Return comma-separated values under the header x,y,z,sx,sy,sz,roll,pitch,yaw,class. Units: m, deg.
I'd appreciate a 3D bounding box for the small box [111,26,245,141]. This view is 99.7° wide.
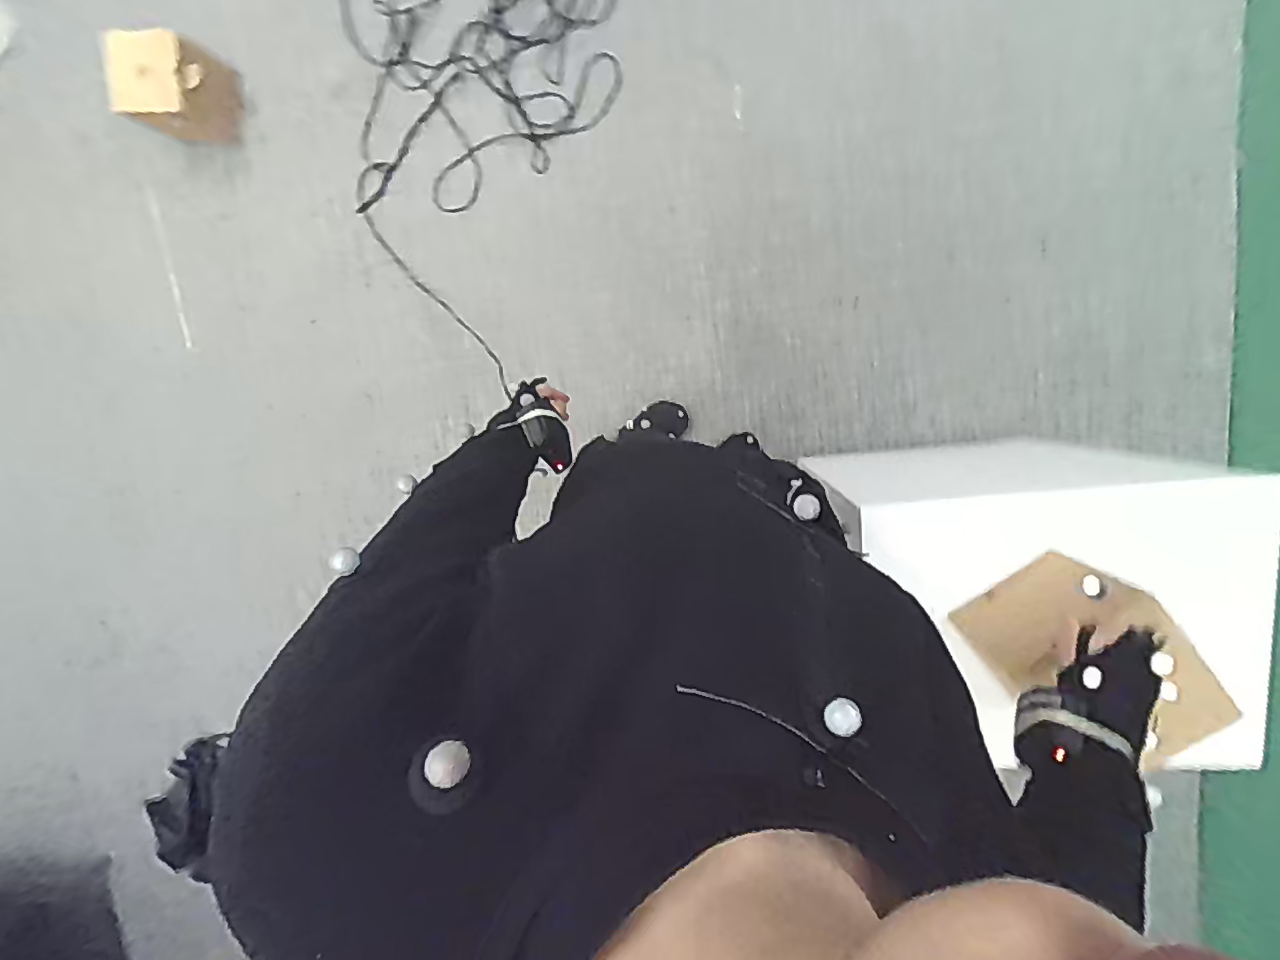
x,y,z,sx,sy,sz,roll,pitch,yaw,class
-1.084,-0.928,1.279,0.179,0.176,0.168,4,99,5,small box
